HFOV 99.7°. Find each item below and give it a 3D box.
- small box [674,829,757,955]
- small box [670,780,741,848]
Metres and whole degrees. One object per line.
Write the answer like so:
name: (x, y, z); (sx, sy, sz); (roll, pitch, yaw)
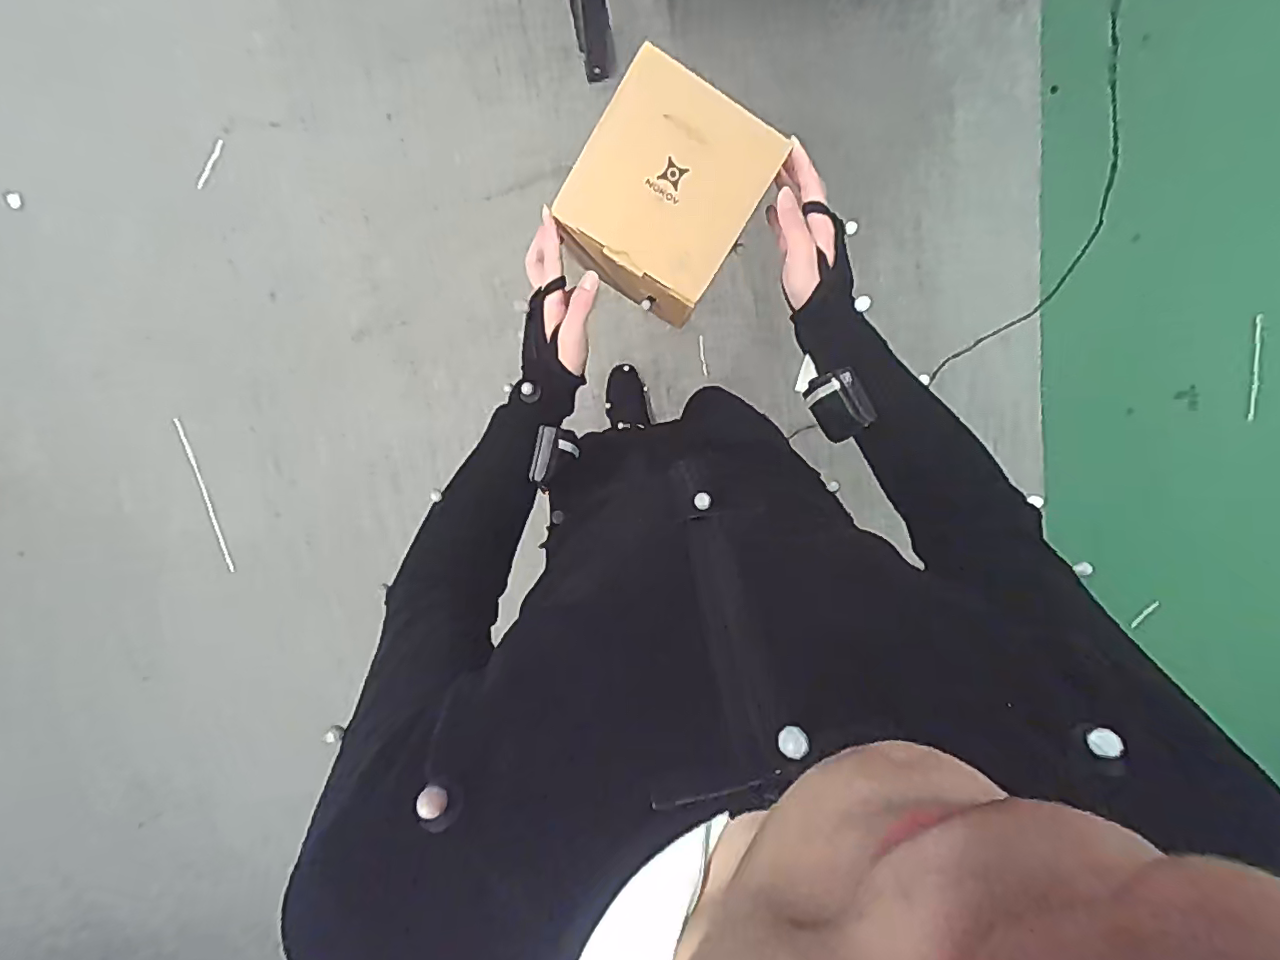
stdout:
small box: (0.173, 0.955, 1.273); (0.168, 0.176, 0.179); (-4, 102, -2)
small box: (0.169, 0.924, 1.433); (0.168, 0.176, 0.179); (-4, 101, -1)
